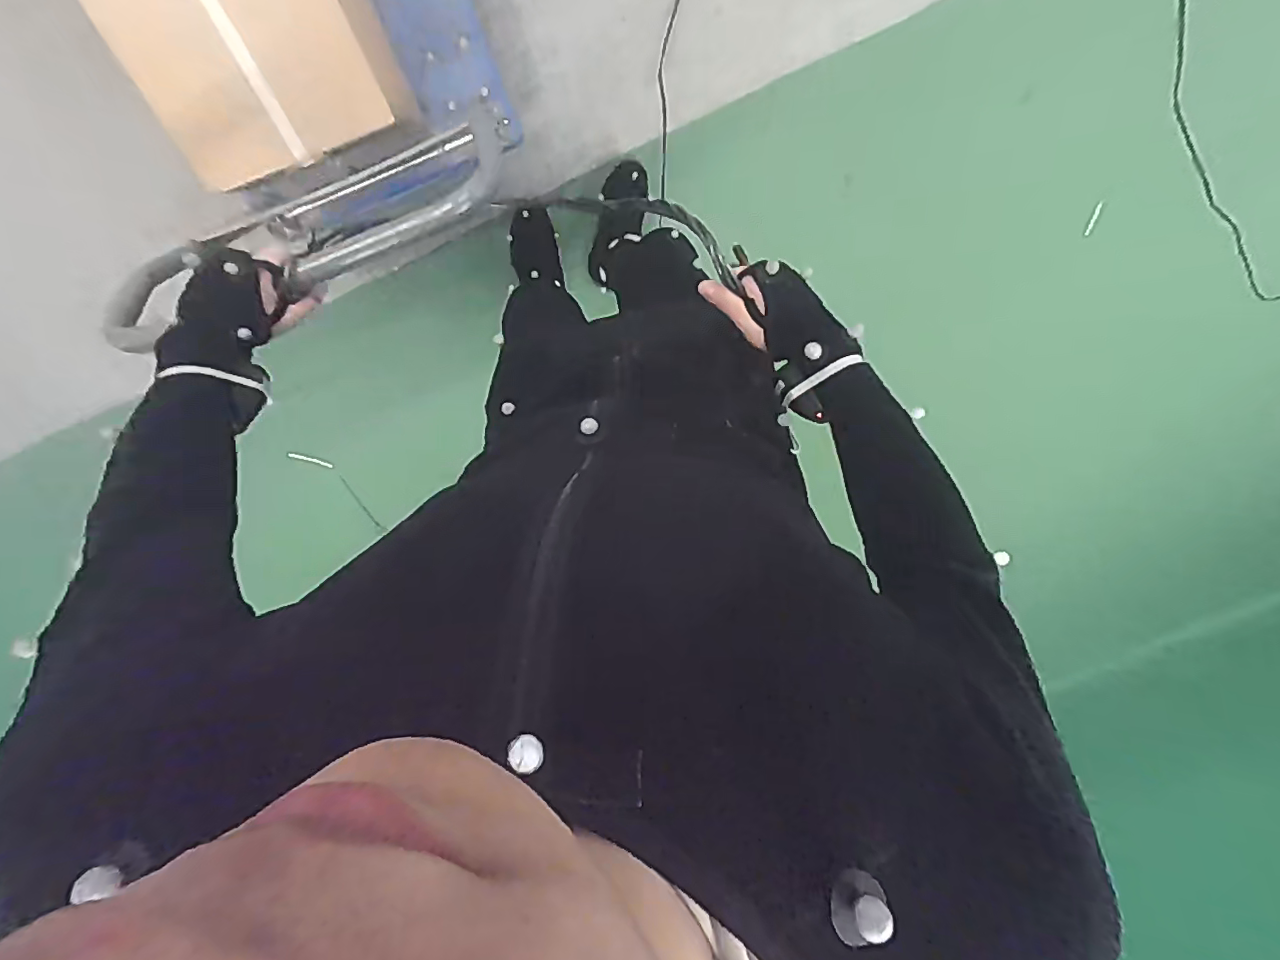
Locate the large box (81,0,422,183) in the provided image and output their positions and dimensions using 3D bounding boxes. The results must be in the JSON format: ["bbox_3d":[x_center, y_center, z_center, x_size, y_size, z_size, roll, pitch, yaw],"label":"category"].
[{"bbox_3d":[-0.603,-0.739,0.836,0.320,0.320,0.408,-20,125,2],"label":"large box"}]
